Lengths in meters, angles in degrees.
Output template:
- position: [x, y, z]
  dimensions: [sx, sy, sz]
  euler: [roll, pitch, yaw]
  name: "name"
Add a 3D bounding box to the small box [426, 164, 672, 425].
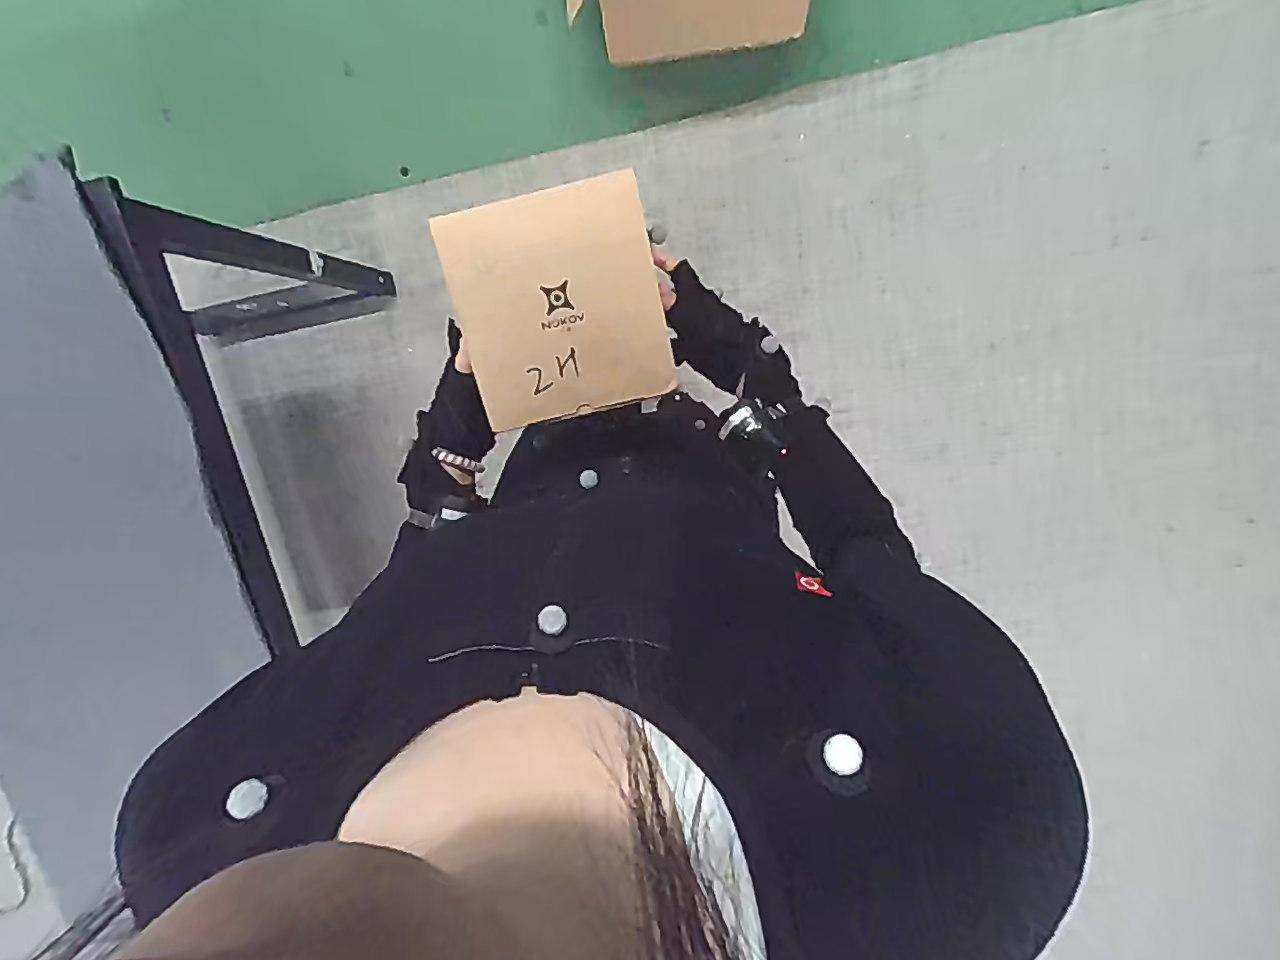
- position: [-0.070, -0.162, 0.509]
  dimensions: [0.168, 0.176, 0.179]
  euler: [-12, 105, 3]
  name: "small box"
